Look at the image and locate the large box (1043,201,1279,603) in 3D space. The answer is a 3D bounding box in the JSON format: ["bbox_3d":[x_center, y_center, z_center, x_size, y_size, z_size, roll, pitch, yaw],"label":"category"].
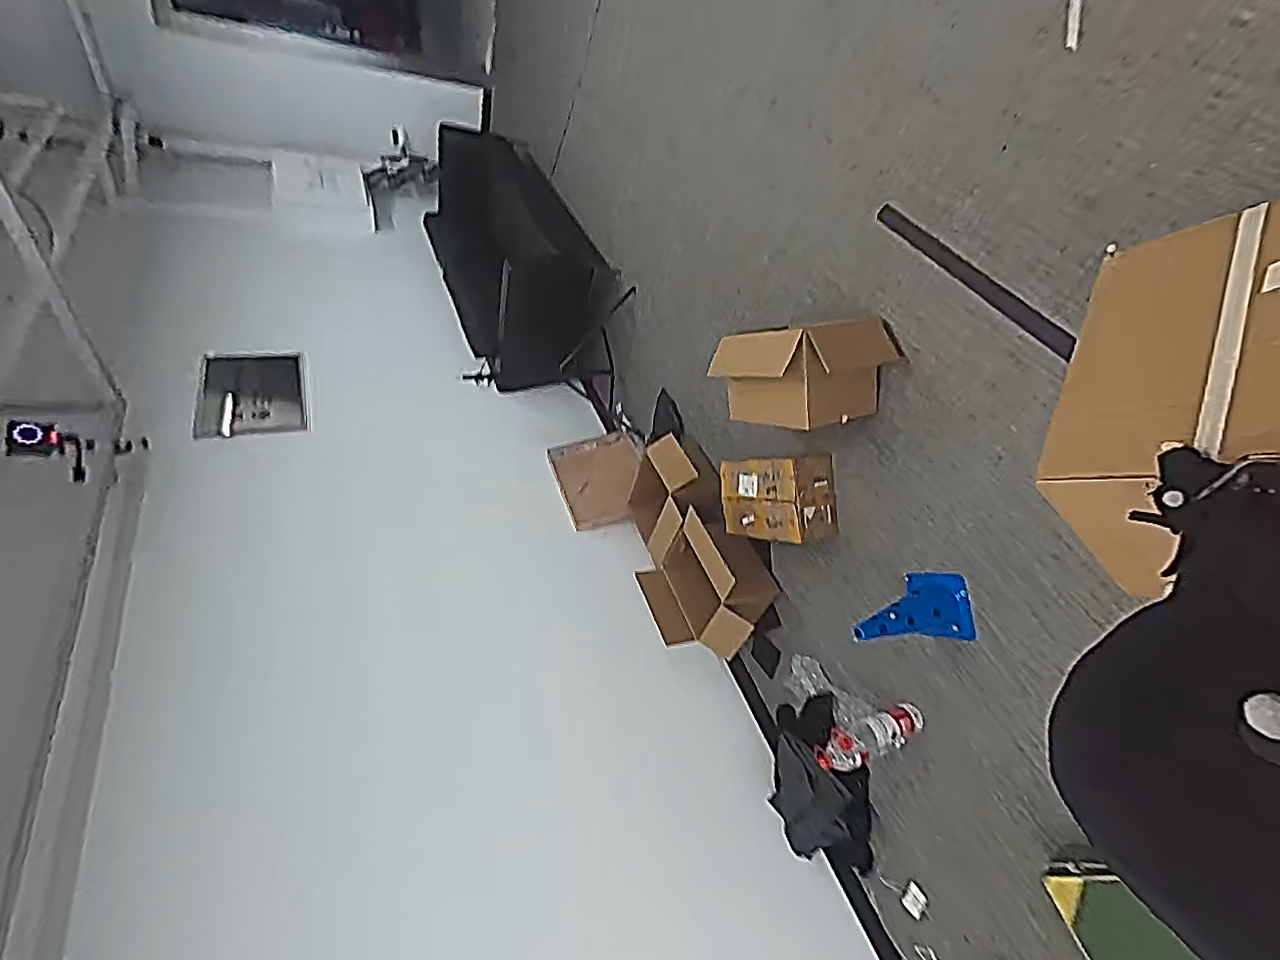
[{"bbox_3d":[0.788,-0.088,0.670,0.320,0.320,0.408,-1,55,61],"label":"large box"}]
